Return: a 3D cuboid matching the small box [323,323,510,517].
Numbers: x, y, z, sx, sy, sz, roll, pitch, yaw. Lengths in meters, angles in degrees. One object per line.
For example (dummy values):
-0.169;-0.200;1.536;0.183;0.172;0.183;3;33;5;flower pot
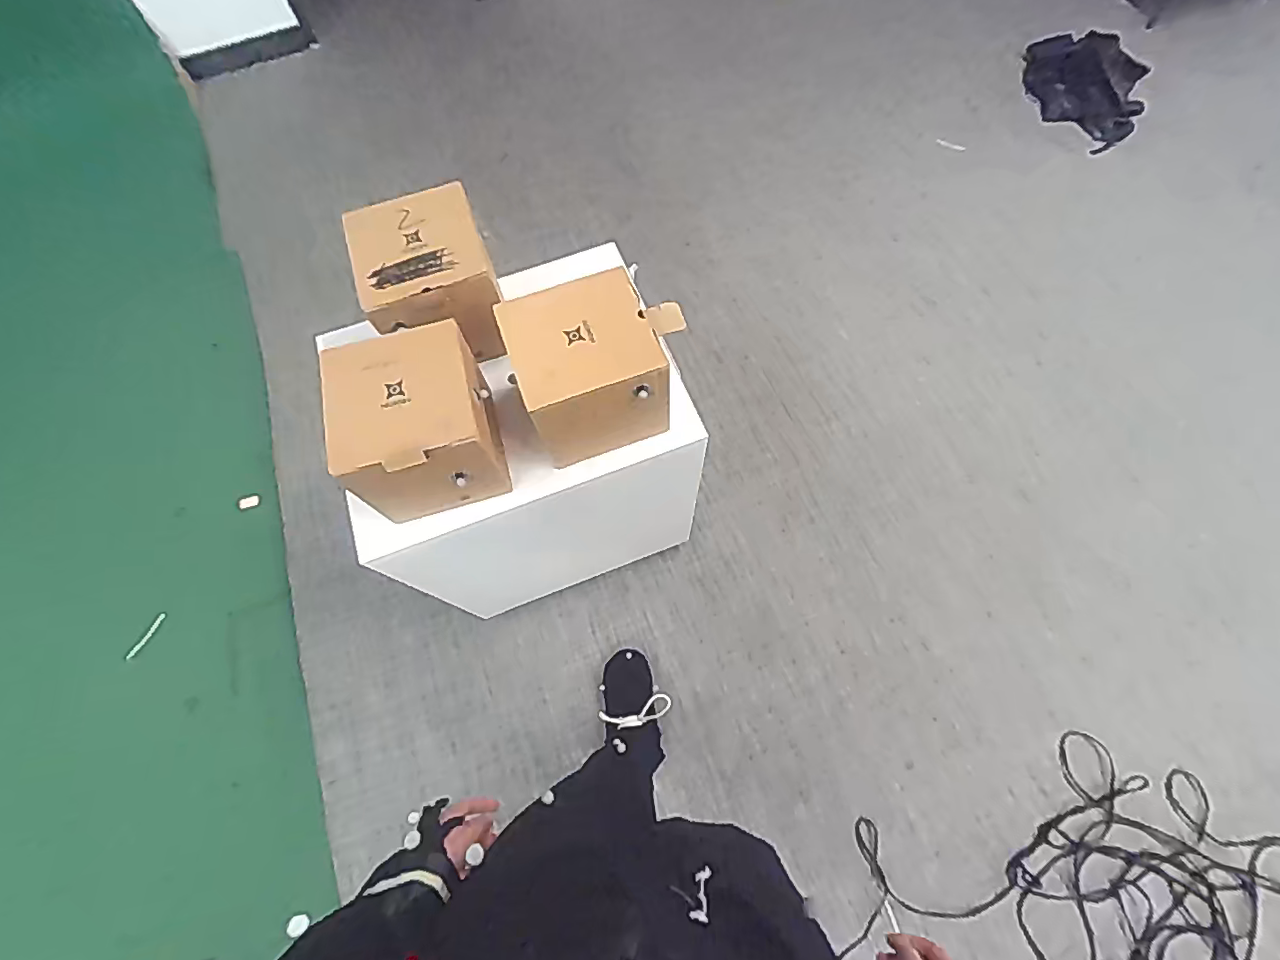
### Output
-0.278;-0.065;0.698;0.168;0.176;0.179;-16;66;-6;small box
